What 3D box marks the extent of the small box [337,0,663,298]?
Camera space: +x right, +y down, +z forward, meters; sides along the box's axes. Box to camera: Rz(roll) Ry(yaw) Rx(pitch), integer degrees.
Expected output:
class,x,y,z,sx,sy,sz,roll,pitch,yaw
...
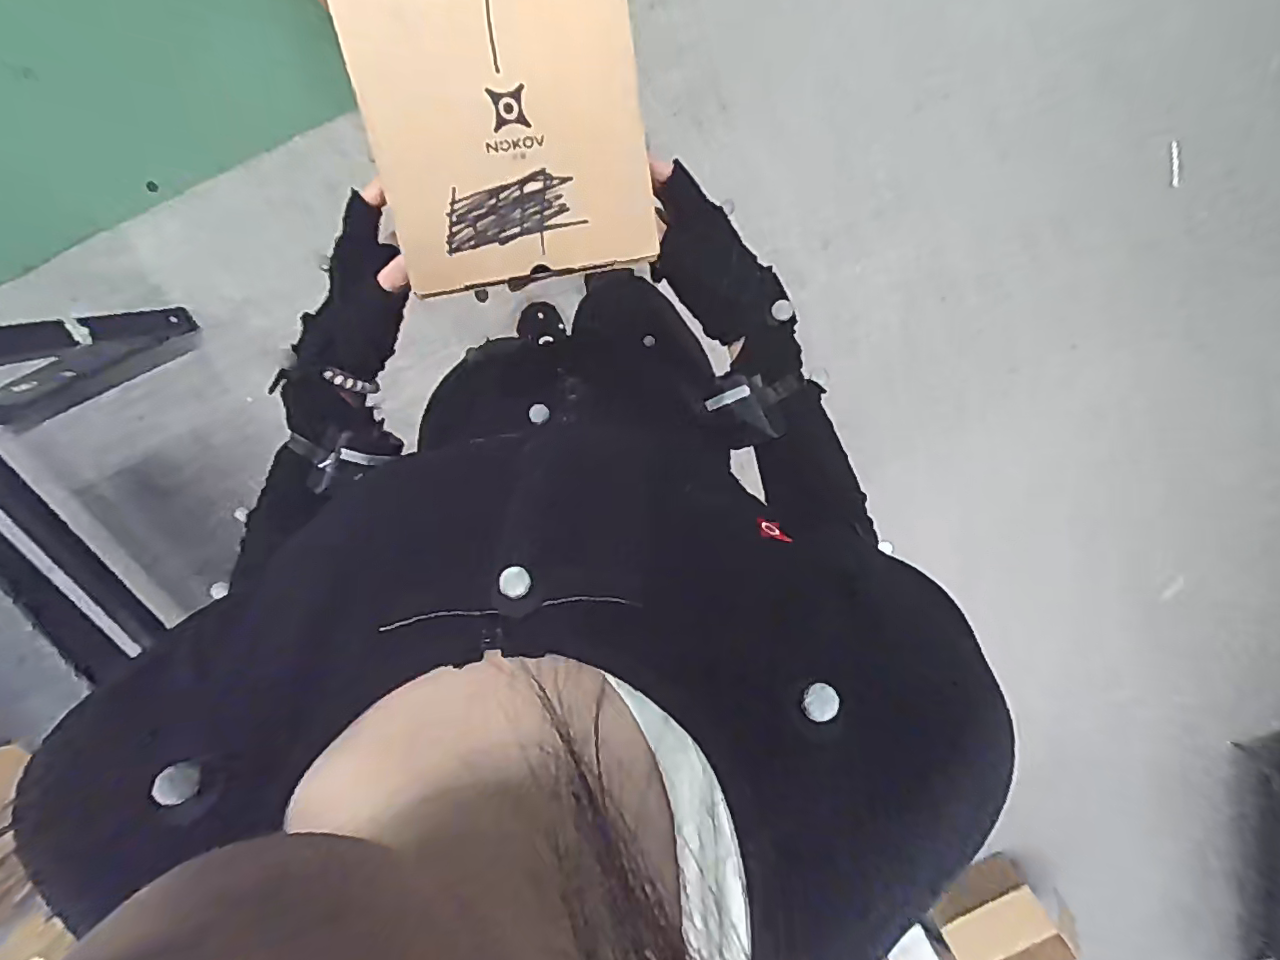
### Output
class,x,y,z,sx,sy,sz,roll,pitch,yaw
small box,-0.089,-0.240,0.398,0.168,0.176,0.179,-13,111,-8
